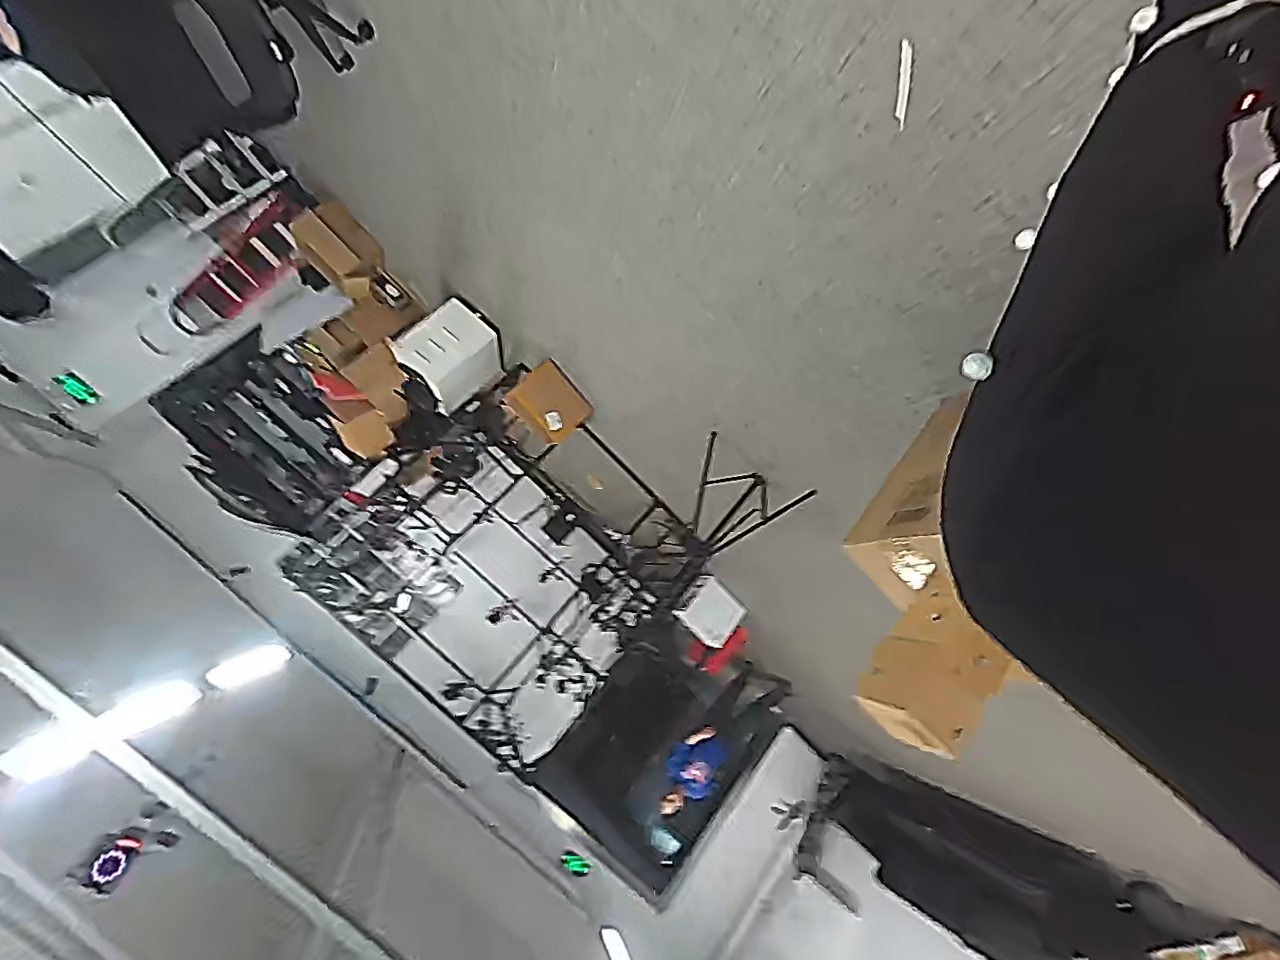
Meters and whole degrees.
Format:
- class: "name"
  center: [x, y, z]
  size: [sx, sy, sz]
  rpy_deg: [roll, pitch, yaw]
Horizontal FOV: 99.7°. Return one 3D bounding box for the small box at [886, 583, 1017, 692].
- class: "small box"
  center: [0.726, 0.358, 1.264]
  size: [0.179, 0.176, 0.168]
  rpy_deg: [44, 160, -6]
